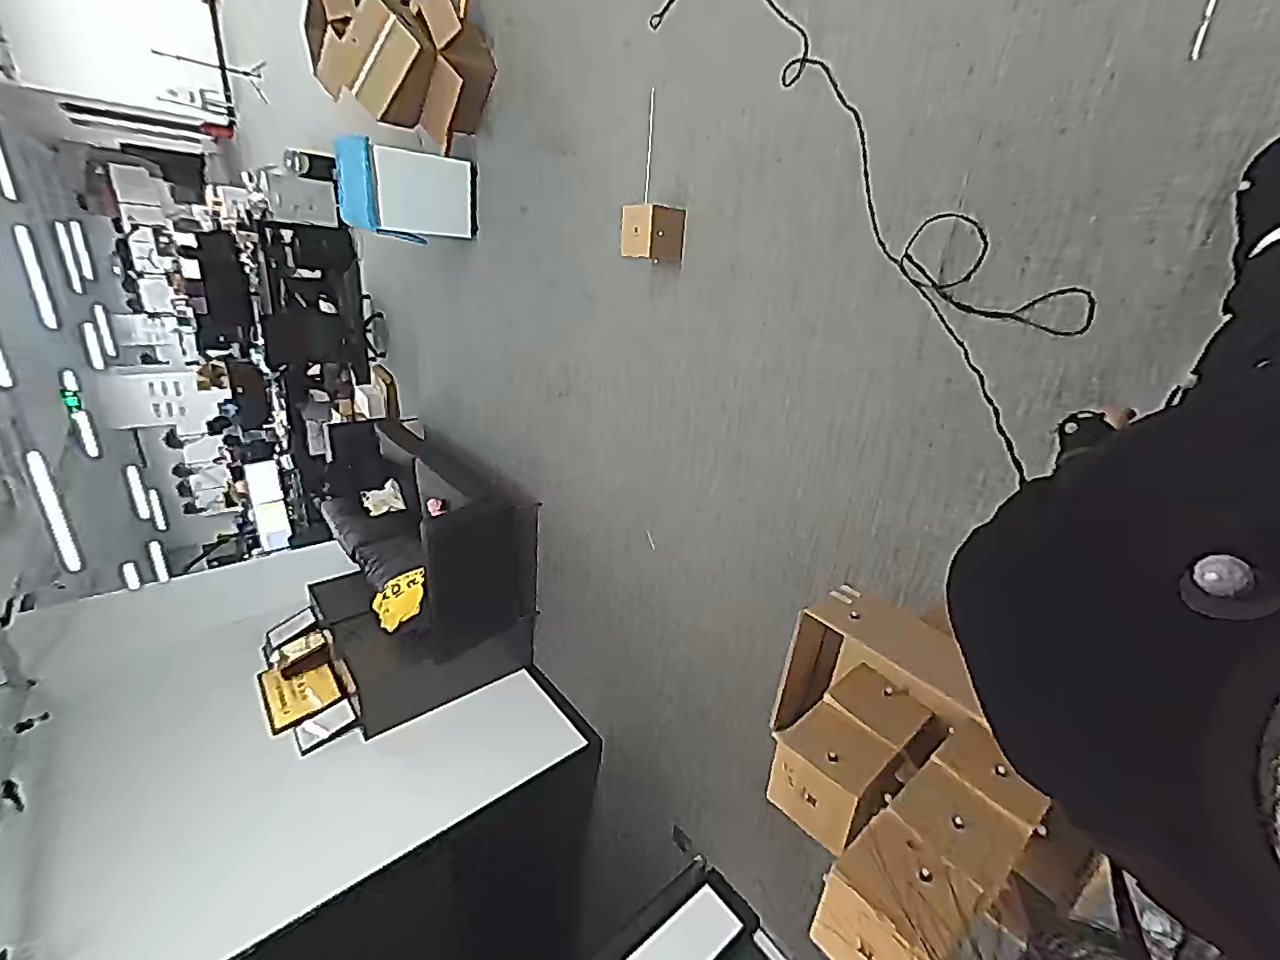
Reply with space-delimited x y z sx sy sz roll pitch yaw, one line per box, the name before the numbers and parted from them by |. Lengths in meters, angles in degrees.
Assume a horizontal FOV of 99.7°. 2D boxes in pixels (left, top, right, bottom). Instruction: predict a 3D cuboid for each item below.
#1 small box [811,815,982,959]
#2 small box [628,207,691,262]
small box | 0.400 0.684 0.848 0.168 0.176 0.179 29 122 45
small box | 0.073 -0.913 2.016 0.168 0.176 0.179 27 120 44
